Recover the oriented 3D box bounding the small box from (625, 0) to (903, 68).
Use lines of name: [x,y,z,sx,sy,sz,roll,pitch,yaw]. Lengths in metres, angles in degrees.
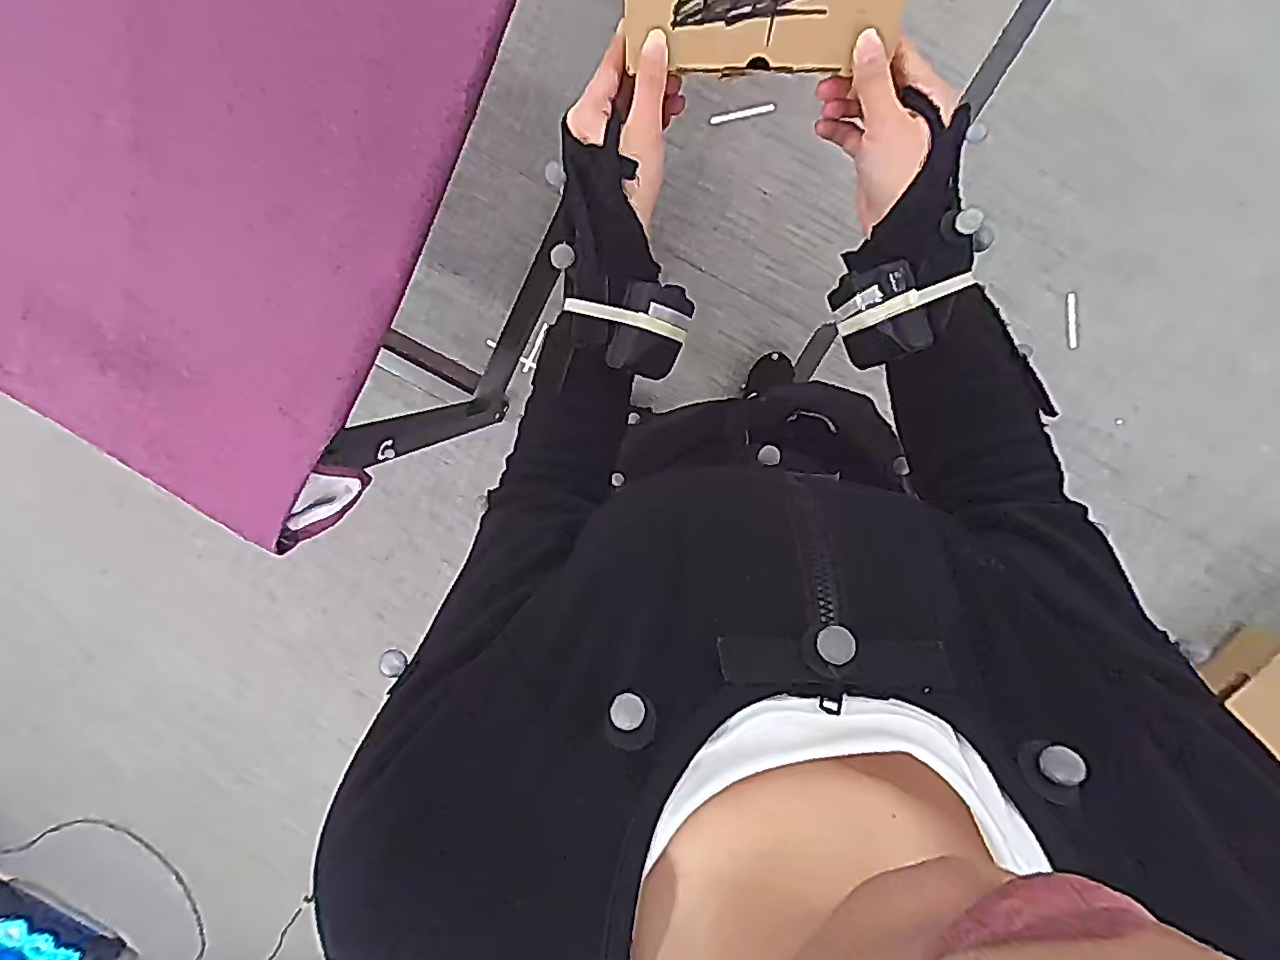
small box: [0.077,-0.377,0.348,0.168,0.176,0.179,1,126,1]
